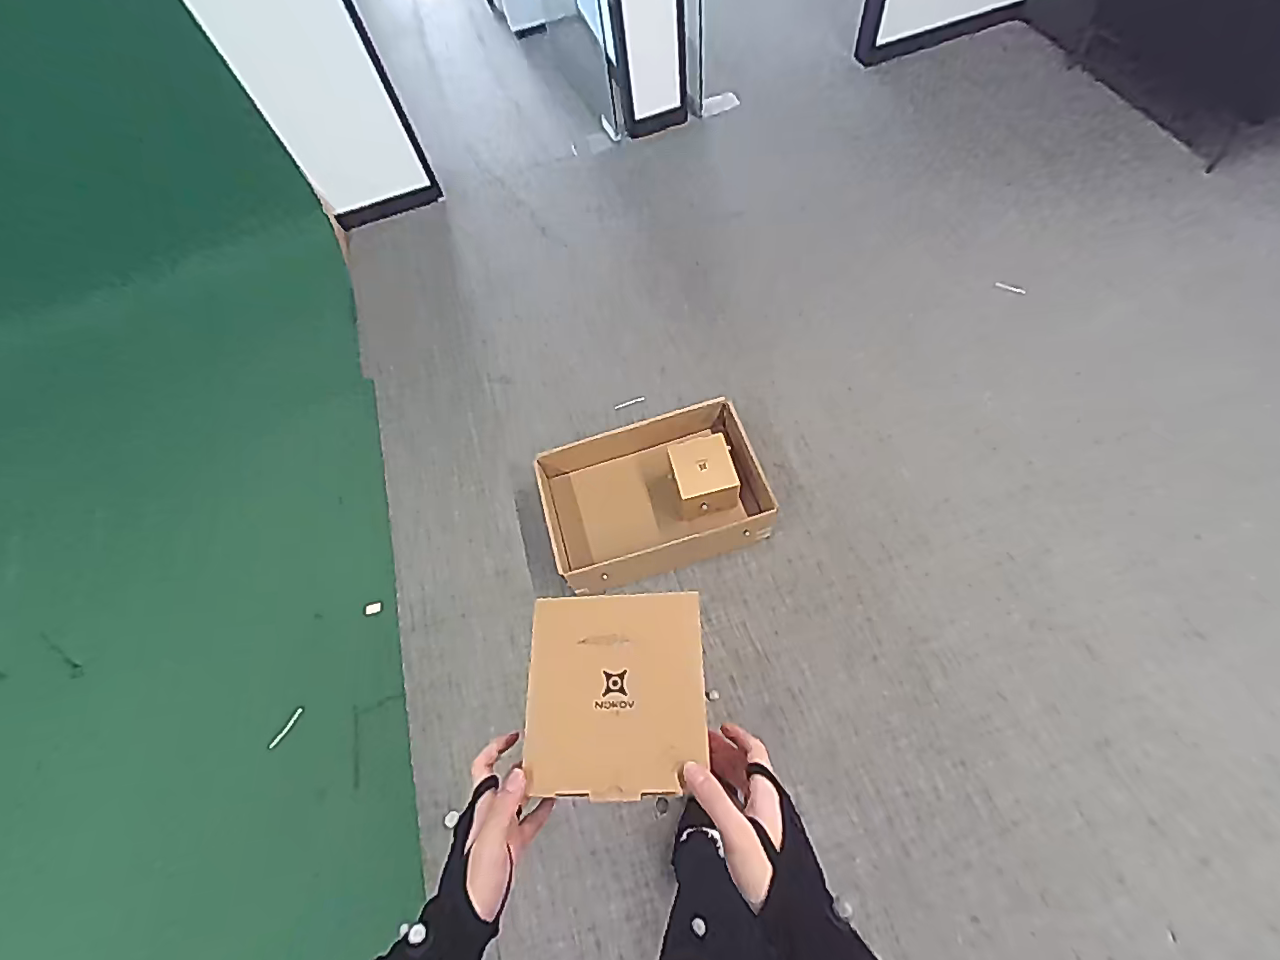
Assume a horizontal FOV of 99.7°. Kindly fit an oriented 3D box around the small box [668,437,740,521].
[{"bbox_3d":[0.186,0.005,1.566,0.168,0.176,0.179,-15,62,0],"label":"small box"}]

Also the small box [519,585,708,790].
[{"bbox_3d":[-0.016,0.222,0.567,0.168,0.176,0.179,-4,60,5],"label":"small box"}]
